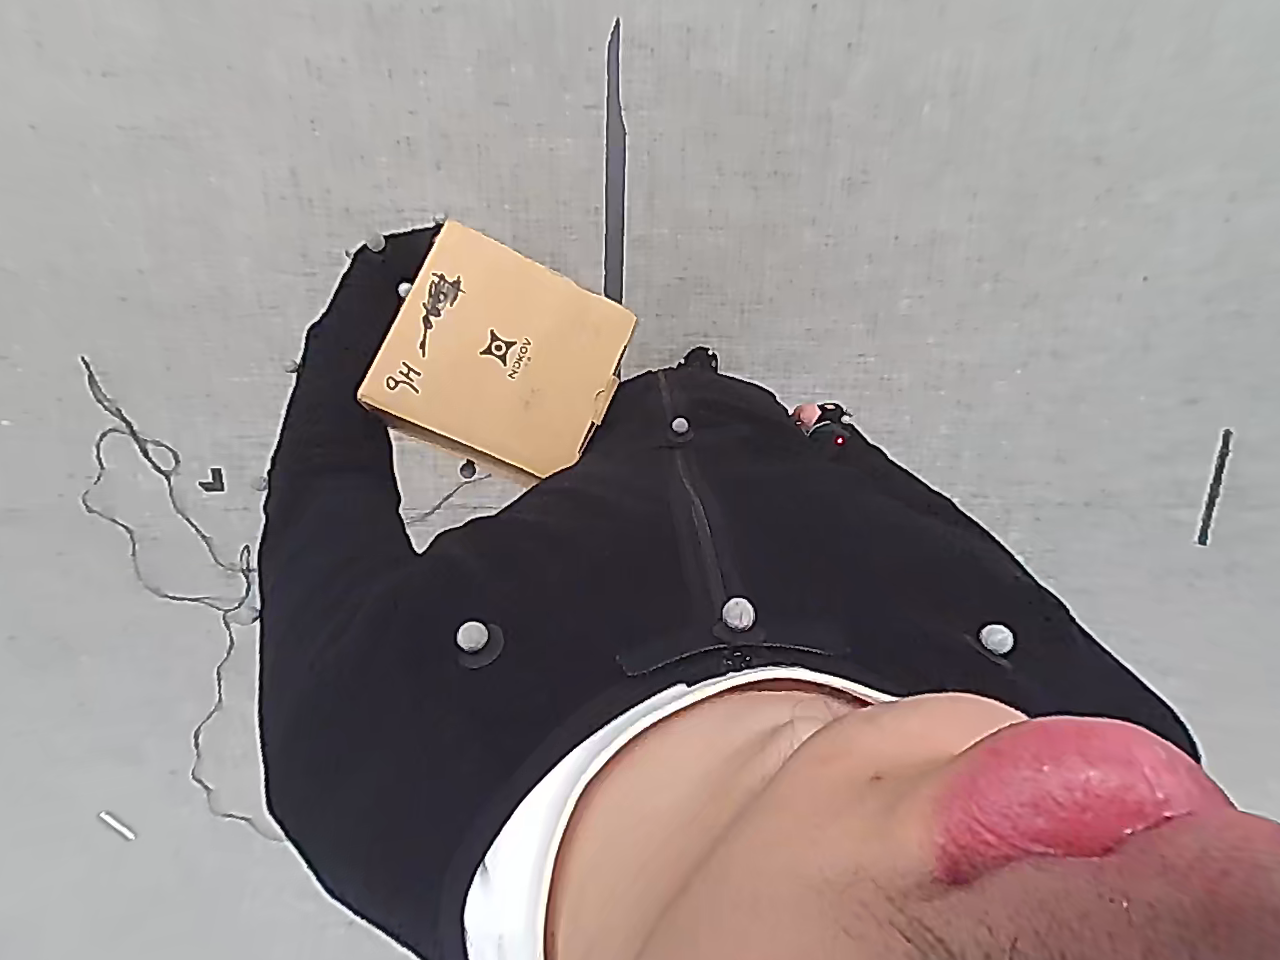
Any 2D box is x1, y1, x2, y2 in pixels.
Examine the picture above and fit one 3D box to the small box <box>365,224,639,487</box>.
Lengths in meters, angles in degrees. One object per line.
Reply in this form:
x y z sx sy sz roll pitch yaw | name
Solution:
-0.128 -0.099 0.524 0.179 0.176 0.168 24 80 -13 | small box
